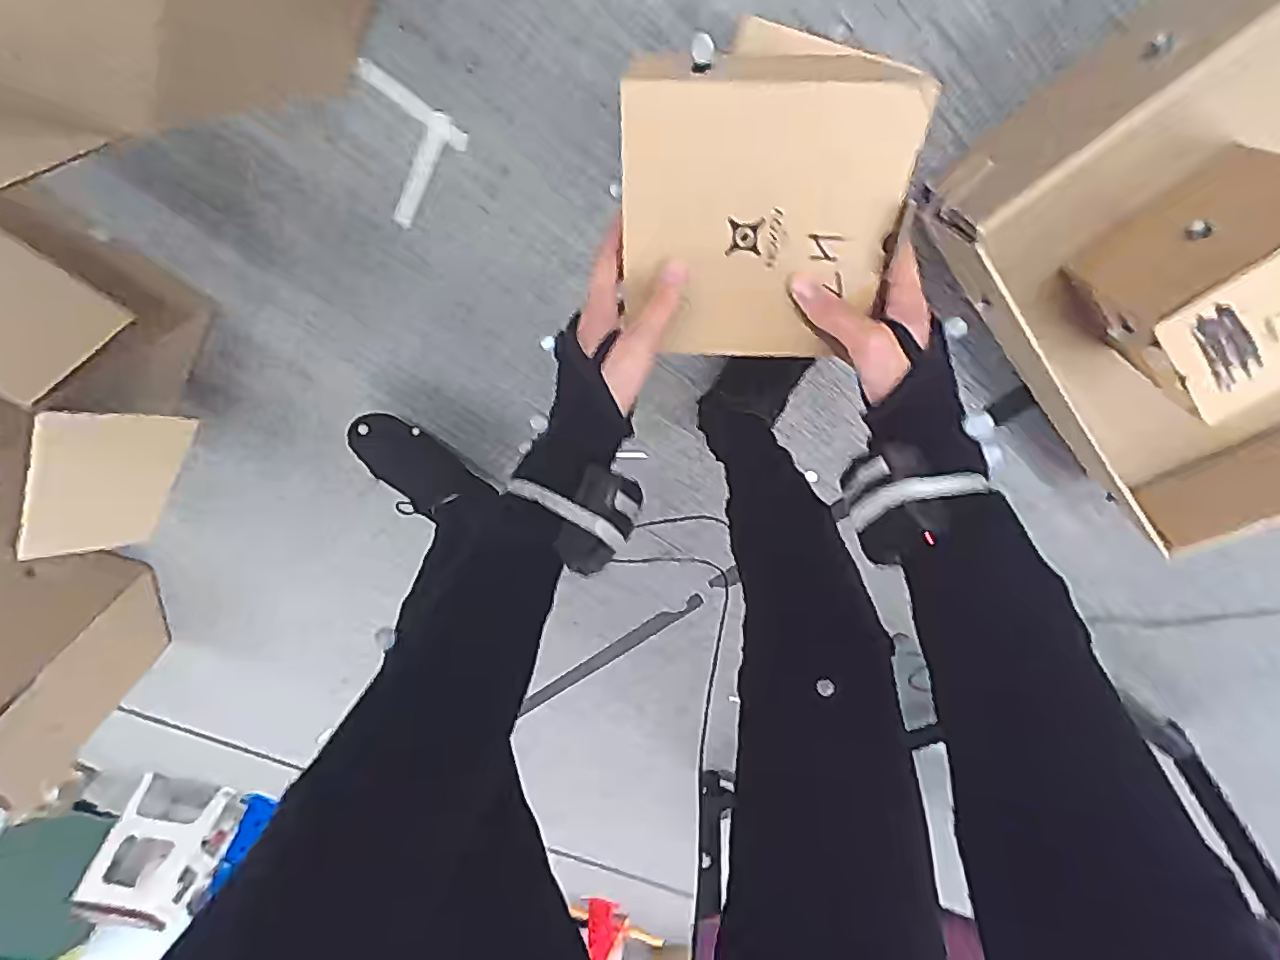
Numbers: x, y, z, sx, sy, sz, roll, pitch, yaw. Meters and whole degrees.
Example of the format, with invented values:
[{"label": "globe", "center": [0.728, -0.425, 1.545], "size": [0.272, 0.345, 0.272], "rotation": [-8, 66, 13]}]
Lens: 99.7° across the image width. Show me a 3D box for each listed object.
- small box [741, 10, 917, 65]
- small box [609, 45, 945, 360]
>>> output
[{"label": "small box", "center": [0.164, -0.357, 0.569], "size": [0.168, 0.176, 0.179], "rotation": [15, 130, -5]}, {"label": "small box", "center": [0.075, -0.203, 0.393], "size": [0.179, 0.176, 0.168], "rotation": [1, 133, 2]}]
